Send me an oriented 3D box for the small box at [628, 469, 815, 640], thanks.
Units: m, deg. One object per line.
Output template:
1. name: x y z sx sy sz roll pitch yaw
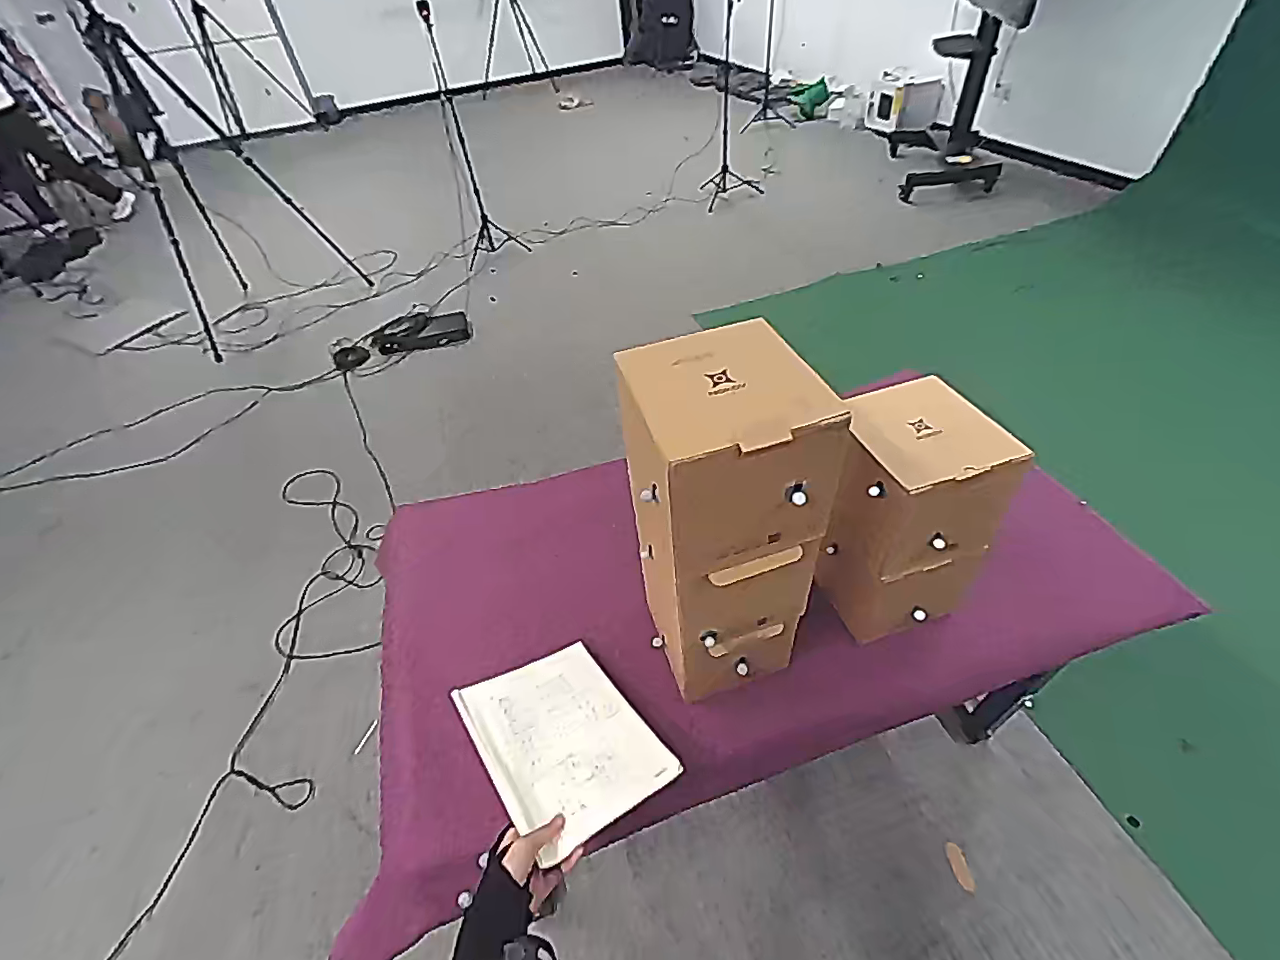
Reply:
1. small box: 0.095 0.078 0.675 0.168 0.176 0.179 -16 45 -8

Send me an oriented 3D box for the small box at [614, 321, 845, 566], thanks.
1. small box: 0.081 -0.032 0.556 0.168 0.176 0.179 -15 46 -8

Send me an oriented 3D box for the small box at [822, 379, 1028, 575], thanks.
1. small box: 0.351 -0.005 0.722 0.168 0.176 0.179 -16 46 -8

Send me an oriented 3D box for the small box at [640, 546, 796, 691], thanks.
1. small box: 0.109 0.188 0.797 0.168 0.176 0.179 -16 47 -9
